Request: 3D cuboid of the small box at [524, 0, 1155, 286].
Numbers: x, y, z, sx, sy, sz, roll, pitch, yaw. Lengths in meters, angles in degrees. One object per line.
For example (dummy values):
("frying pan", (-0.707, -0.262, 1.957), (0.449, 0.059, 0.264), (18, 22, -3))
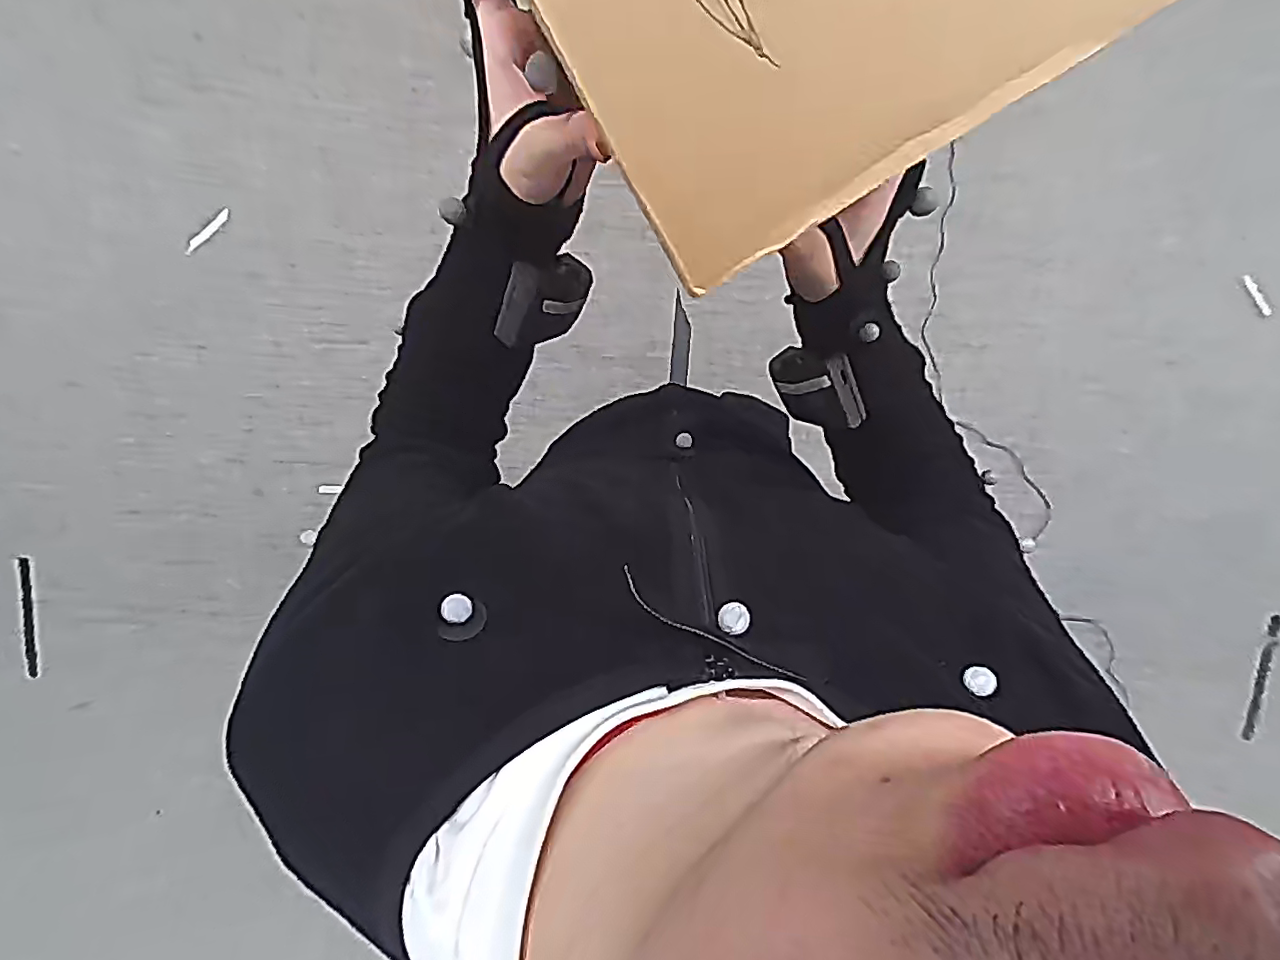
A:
("small box", (0.046, -0.204, 0.199), (0.179, 0.176, 0.168), (-29, 116, 15))
